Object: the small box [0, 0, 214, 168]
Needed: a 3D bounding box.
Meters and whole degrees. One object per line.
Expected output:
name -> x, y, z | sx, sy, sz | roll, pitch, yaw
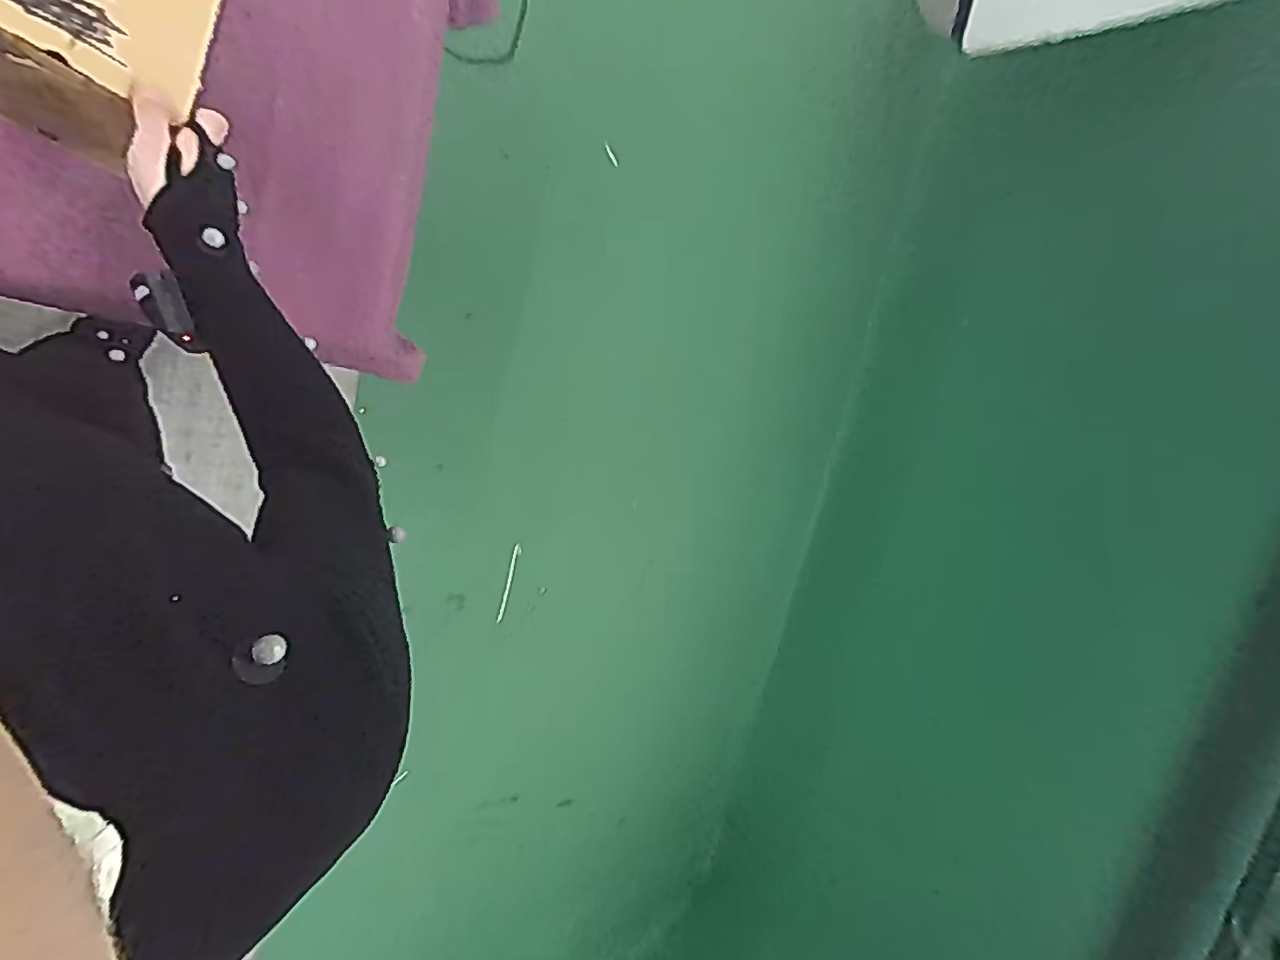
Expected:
small box -> -0.510, -0.412, 0.468 | 0.168, 0.176, 0.179 | 20, 77, -56
